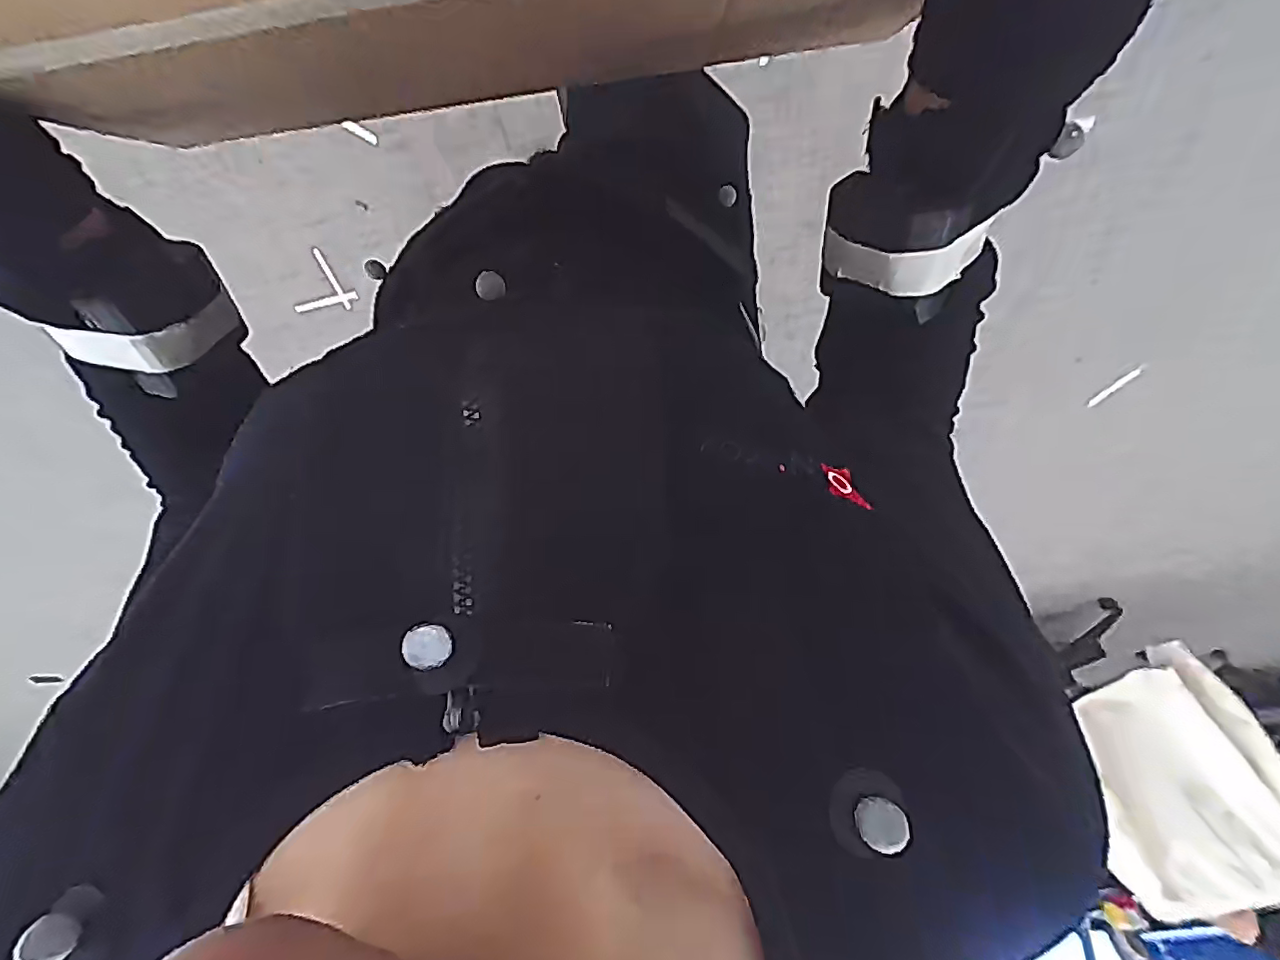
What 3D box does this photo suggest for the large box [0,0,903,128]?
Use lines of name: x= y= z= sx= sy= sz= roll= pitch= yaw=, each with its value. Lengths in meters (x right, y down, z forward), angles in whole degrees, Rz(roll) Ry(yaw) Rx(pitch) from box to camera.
large box: x=-0.083 y=-0.307 z=0.107 sx=0.408 sy=0.320 sz=0.320 roll=-7 pitch=114 yaw=3
